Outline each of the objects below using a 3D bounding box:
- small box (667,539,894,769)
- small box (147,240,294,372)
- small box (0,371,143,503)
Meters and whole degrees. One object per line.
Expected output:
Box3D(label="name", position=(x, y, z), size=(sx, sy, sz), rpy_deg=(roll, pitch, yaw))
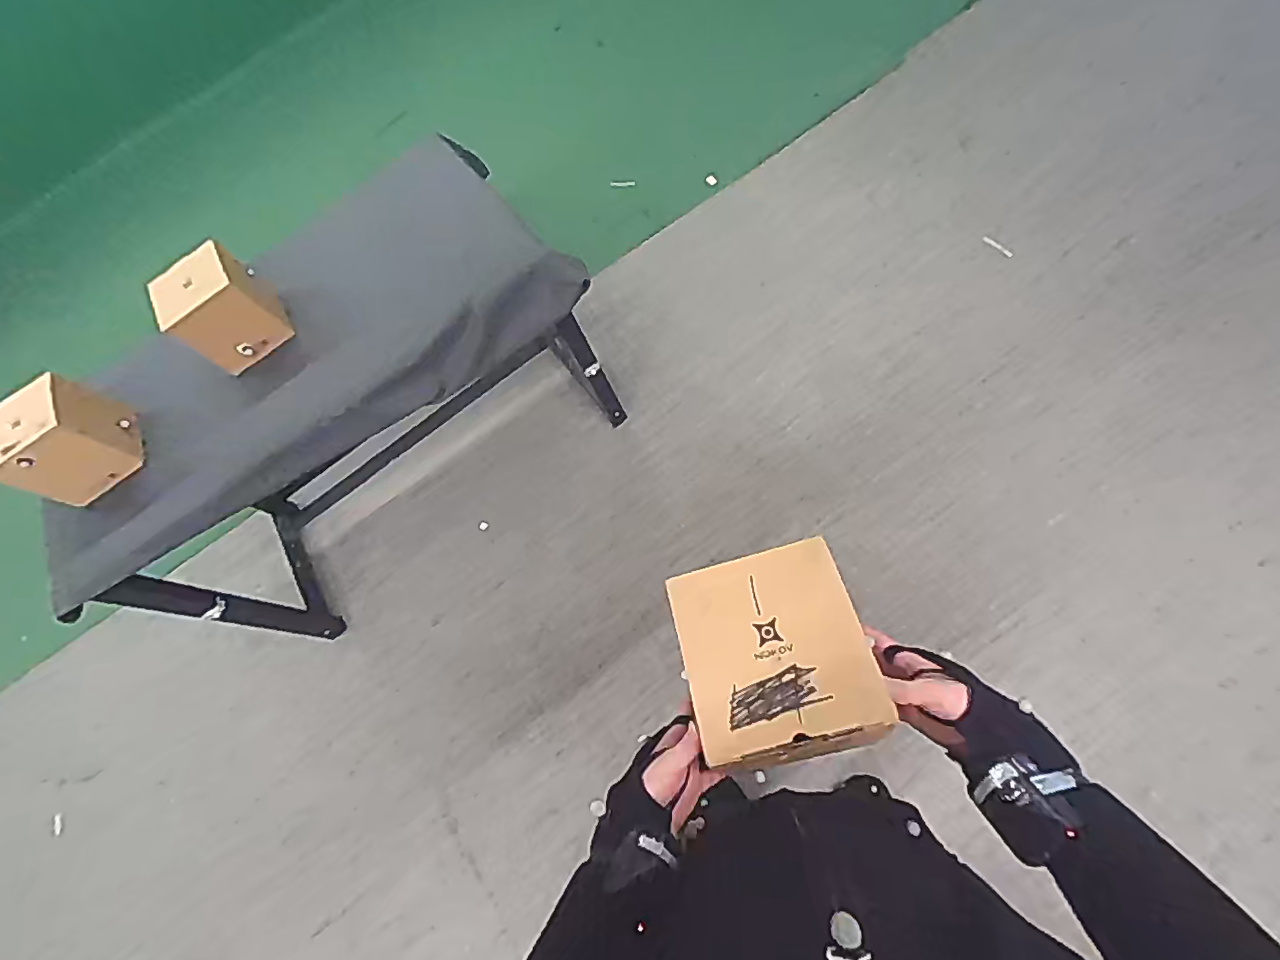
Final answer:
Box3D(label="small box", position=(0.139, 0.189, 0.560), size=(0.168, 0.176, 0.179), rpy_deg=(-17, 56, 7))
Box3D(label="small box", position=(-0.897, -0.368, 1.167), size=(0.168, 0.176, 0.179), rpy_deg=(-38, 65, -3))
Box3D(label="small box", position=(-1.183, -0.082, 1.112), size=(0.168, 0.176, 0.179), rpy_deg=(-38, 63, -3))
